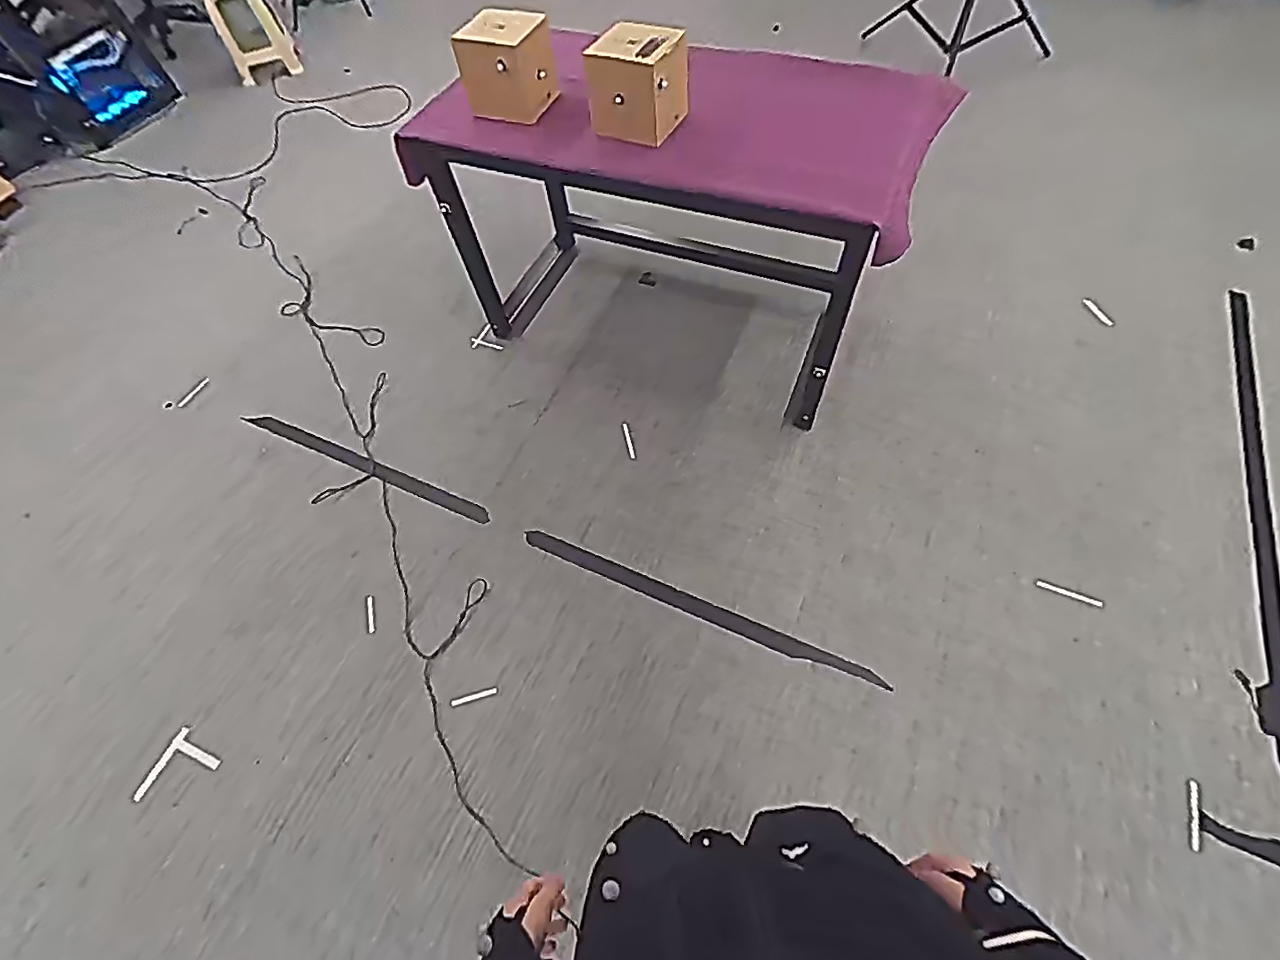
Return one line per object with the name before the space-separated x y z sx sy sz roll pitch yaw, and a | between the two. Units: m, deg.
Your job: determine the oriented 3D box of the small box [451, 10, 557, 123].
small box | -0.322 -1.009 1.325 0.179 0.176 0.168 17 62 14
